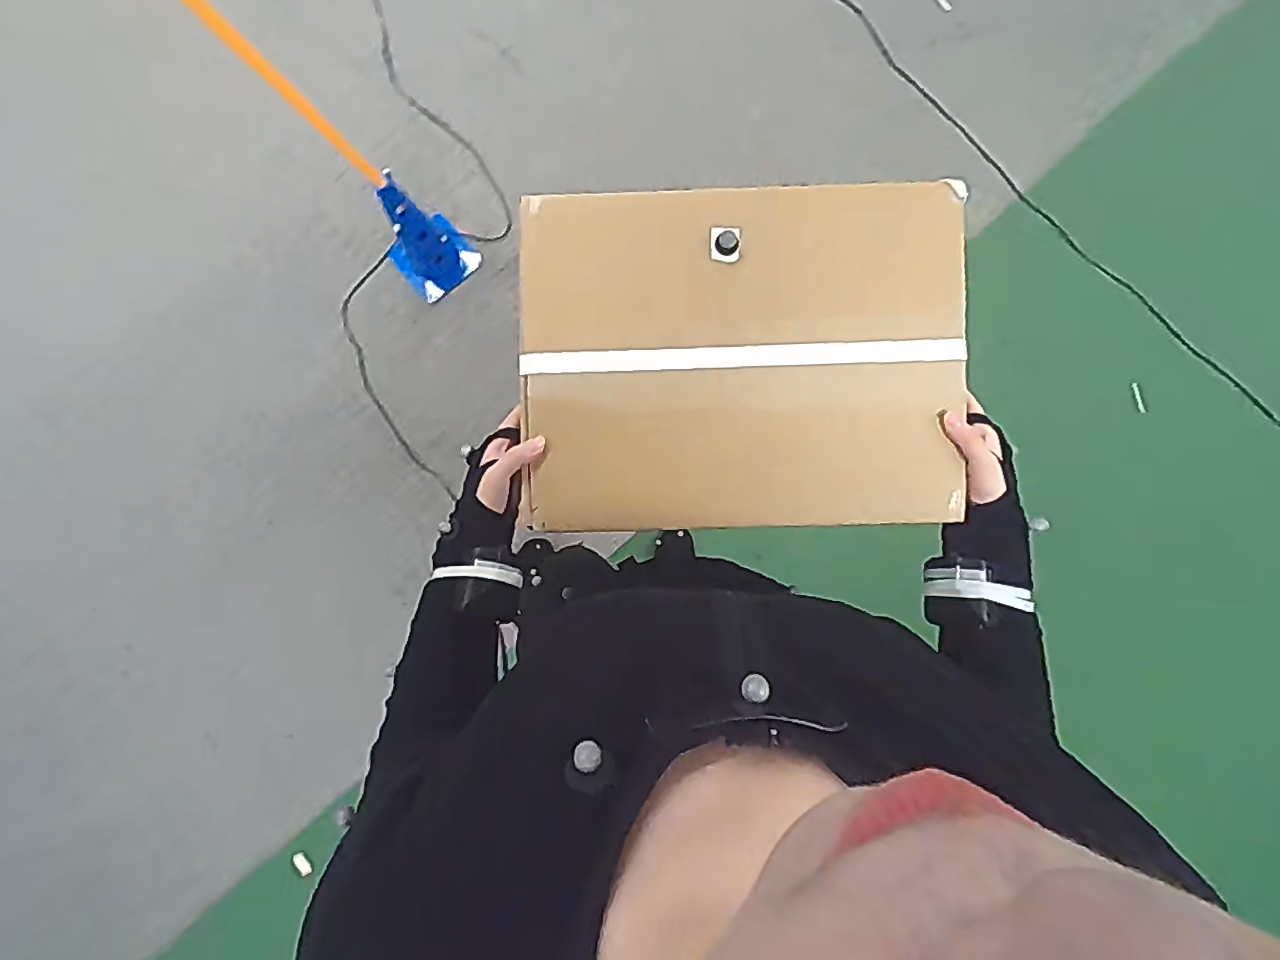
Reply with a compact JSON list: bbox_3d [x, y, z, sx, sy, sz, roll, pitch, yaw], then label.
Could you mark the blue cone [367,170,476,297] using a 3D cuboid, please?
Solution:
[{"bbox_3d":[-0.572,-0.636,1.353,0.193,0.380,0.192,-44,89,-3],"label":"blue cone"}]
